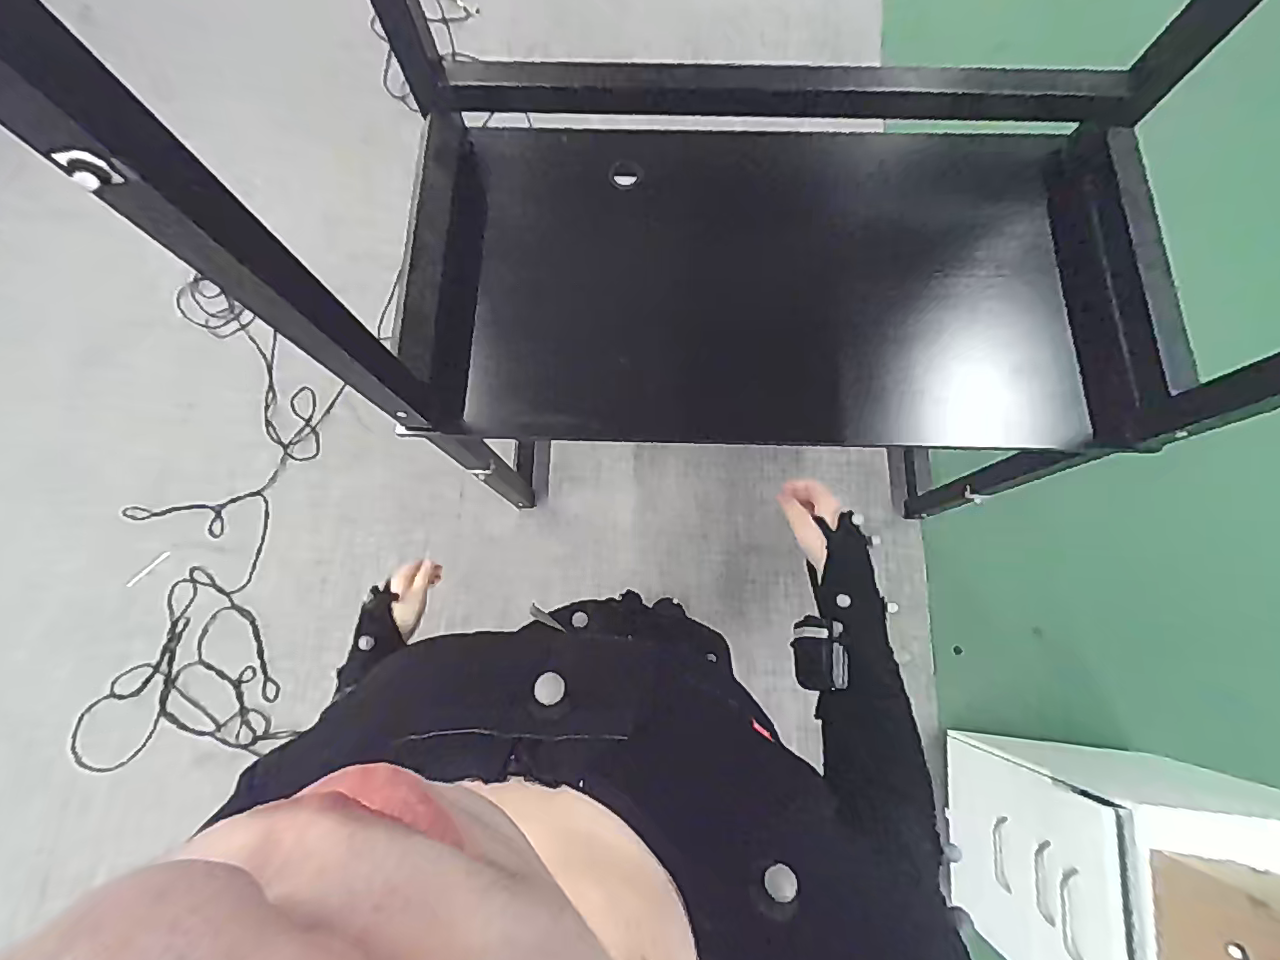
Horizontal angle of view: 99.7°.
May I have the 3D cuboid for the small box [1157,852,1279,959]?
[{"bbox_3d":[0.845,0.634,0.720,0.168,0.176,0.179,8,77,3],"label":"small box"}]
